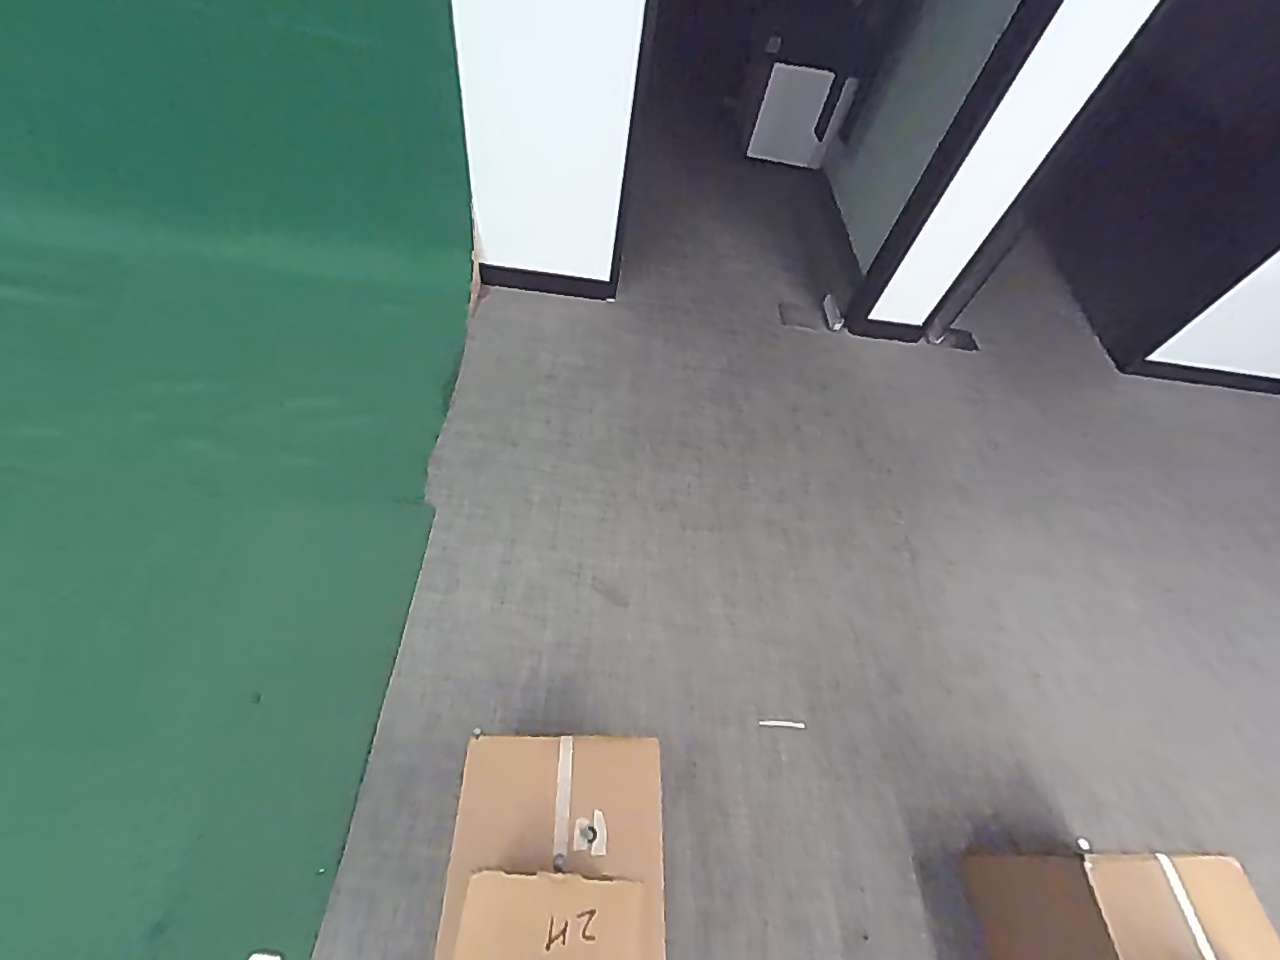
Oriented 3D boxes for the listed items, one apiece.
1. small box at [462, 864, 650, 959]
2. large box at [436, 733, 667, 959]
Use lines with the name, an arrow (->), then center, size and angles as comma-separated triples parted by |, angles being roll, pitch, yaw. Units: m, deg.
small box -> -0.087, 0.490, 0.529 | 0.168, 0.176, 0.179 | 8, 54, -5
large box -> -0.138, 0.667, 0.898 | 0.320, 0.320, 0.408 | 5, 55, -8
